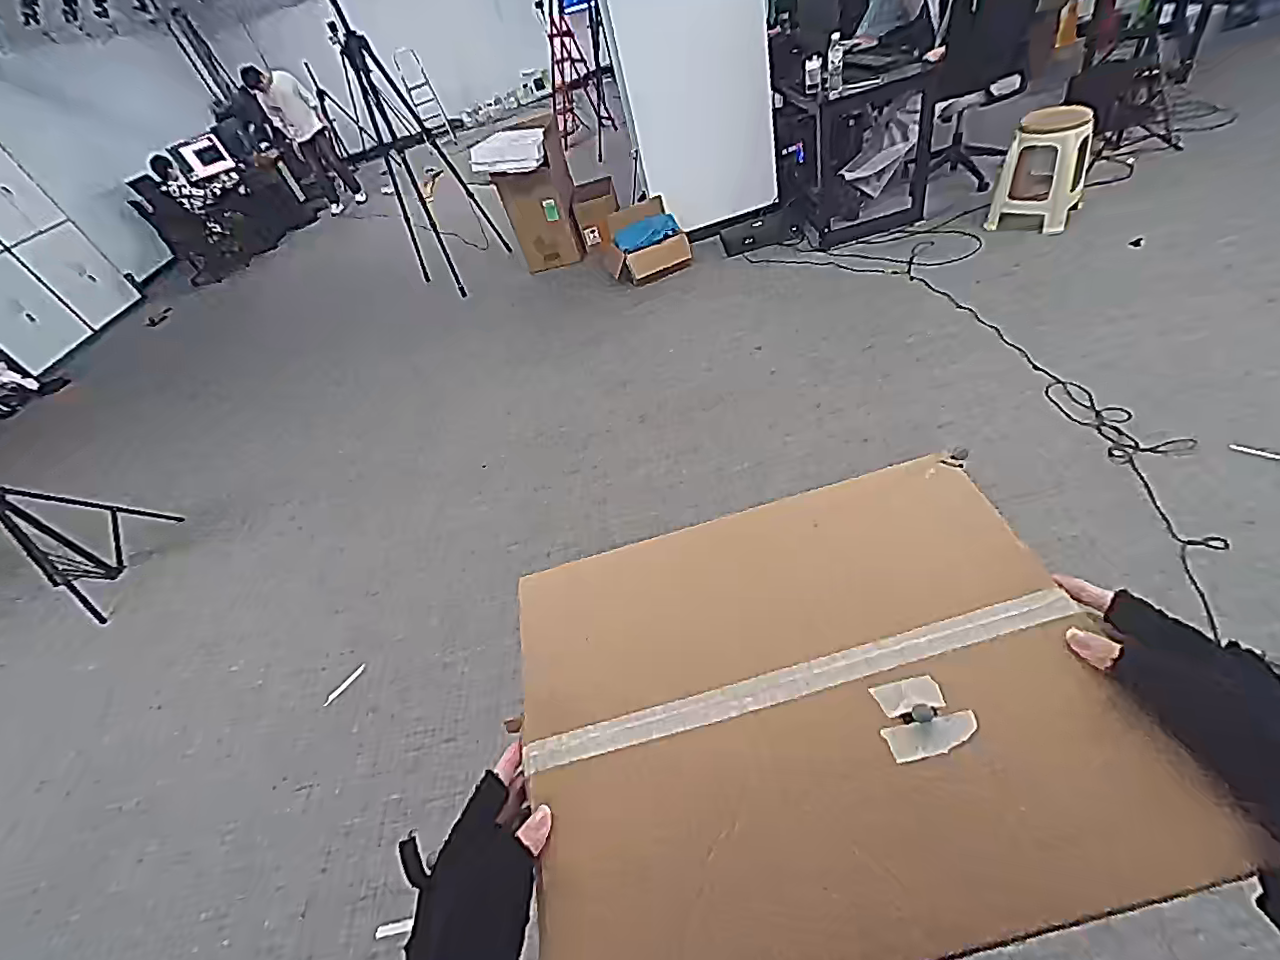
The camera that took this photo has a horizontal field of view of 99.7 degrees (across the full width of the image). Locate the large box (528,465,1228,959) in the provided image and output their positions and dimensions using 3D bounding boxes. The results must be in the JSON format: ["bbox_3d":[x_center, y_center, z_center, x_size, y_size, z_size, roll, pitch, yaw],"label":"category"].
[{"bbox_3d":[0.143,0.246,0.516,0.408,0.320,0.320,-17,49,1],"label":"large box"}]
